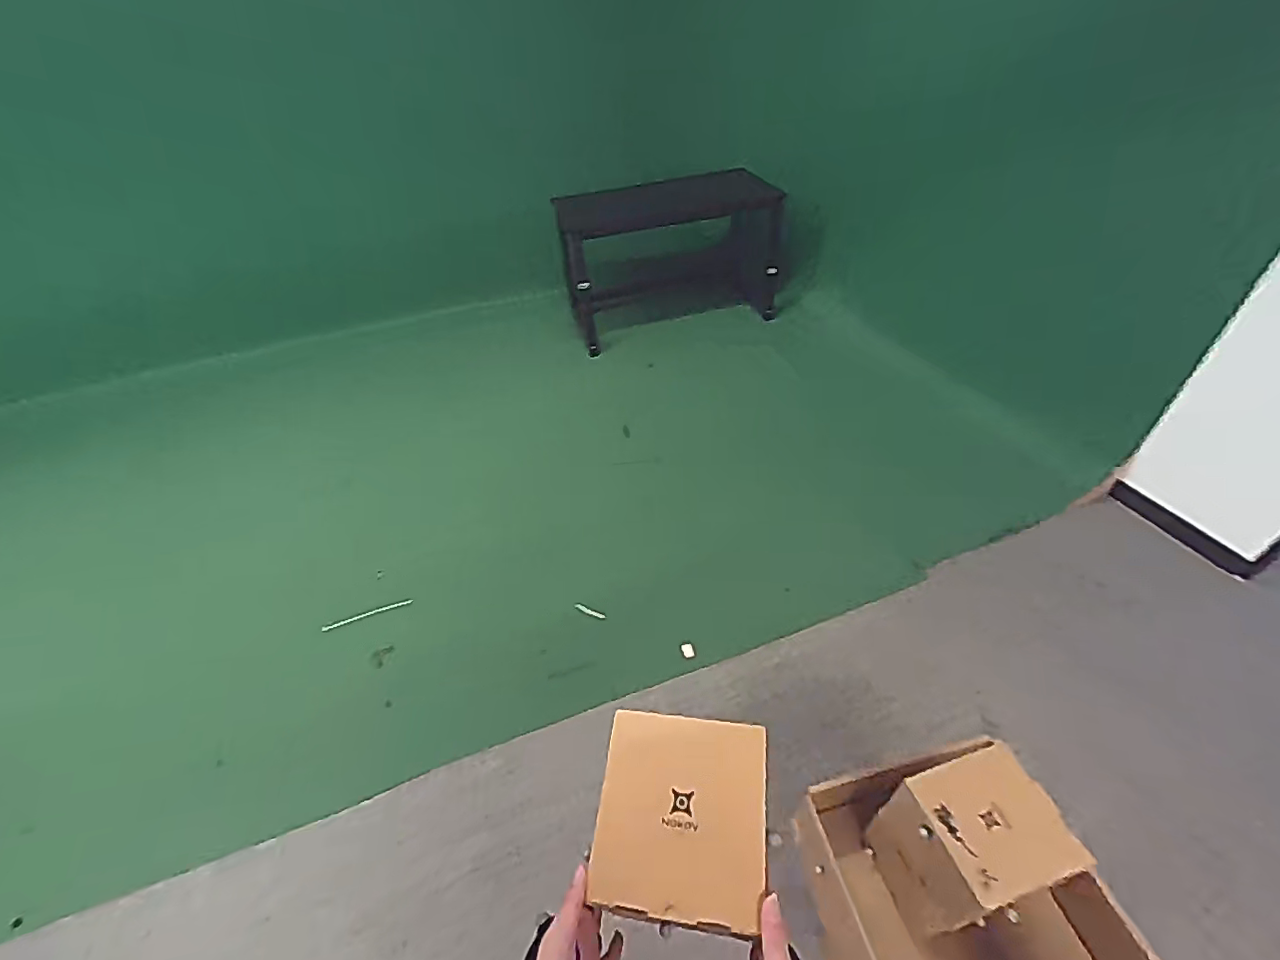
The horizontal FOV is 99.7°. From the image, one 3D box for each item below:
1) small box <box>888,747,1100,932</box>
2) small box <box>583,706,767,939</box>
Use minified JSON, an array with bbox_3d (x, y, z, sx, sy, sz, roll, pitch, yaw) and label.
[{"bbox_3d":[0.506,0.534,0.806,0.179,0.176,0.168,-13,42,-9],"label":"small box"},{"bbox_3d":[0.046,0.370,0.587,0.168,0.176,0.179,3,51,9],"label":"small box"}]
